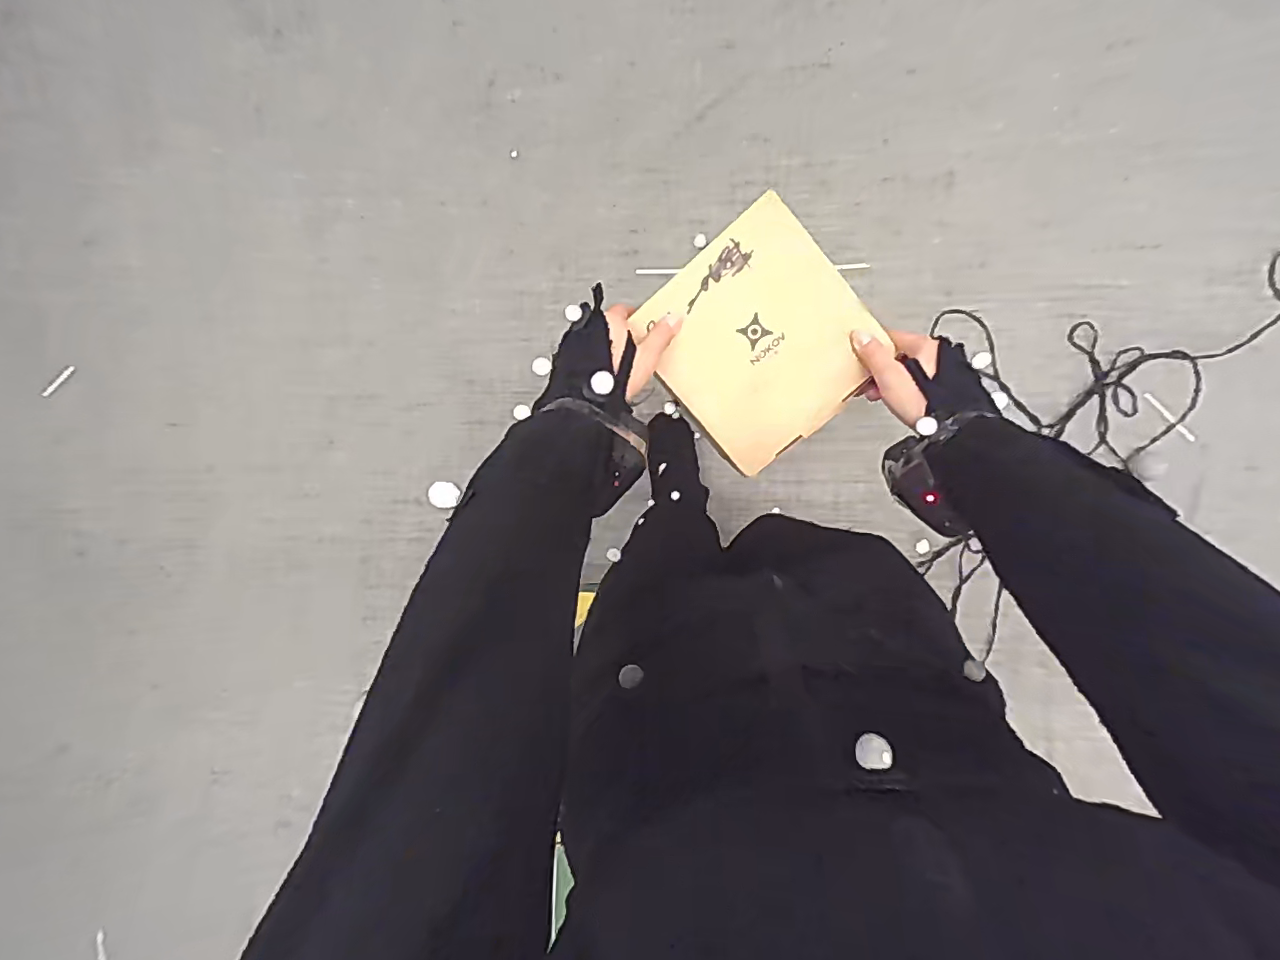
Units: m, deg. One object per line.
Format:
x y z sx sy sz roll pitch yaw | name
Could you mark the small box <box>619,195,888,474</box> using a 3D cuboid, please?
0.098 -0.134 0.537 0.168 0.176 0.179 -40 98 7 | small box
